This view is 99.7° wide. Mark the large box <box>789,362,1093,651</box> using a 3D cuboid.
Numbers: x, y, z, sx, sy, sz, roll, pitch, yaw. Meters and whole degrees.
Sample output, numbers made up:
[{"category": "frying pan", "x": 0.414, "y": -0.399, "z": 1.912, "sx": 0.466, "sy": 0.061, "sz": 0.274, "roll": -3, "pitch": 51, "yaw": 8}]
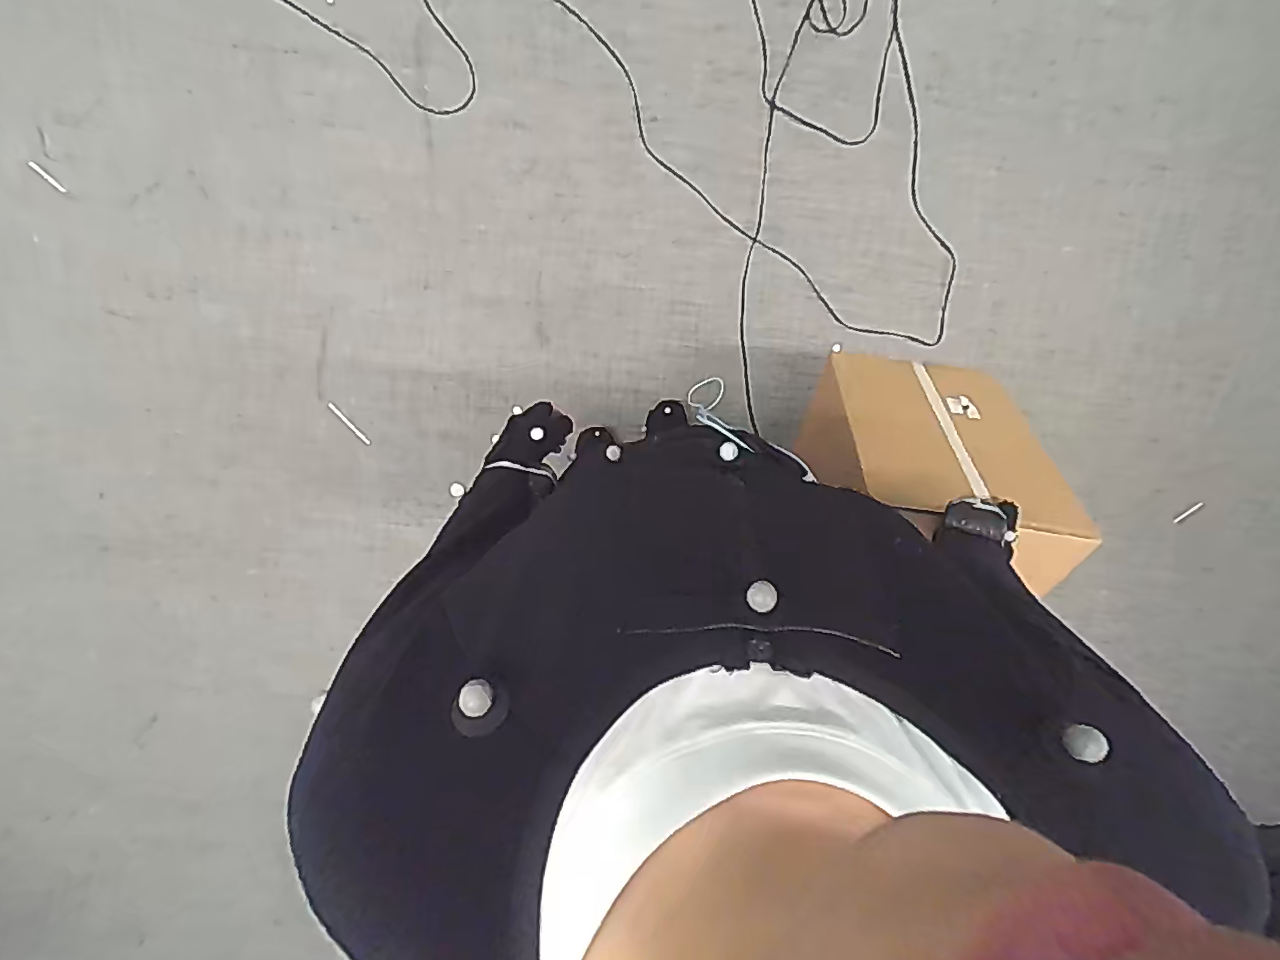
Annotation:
[{"category": "large box", "x": 0.470, "y": 0.039, "z": 0.971, "sx": 0.320, "sy": 0.408, "sz": 0.320, "roll": 9, "pitch": 133, "yaw": 1}]
